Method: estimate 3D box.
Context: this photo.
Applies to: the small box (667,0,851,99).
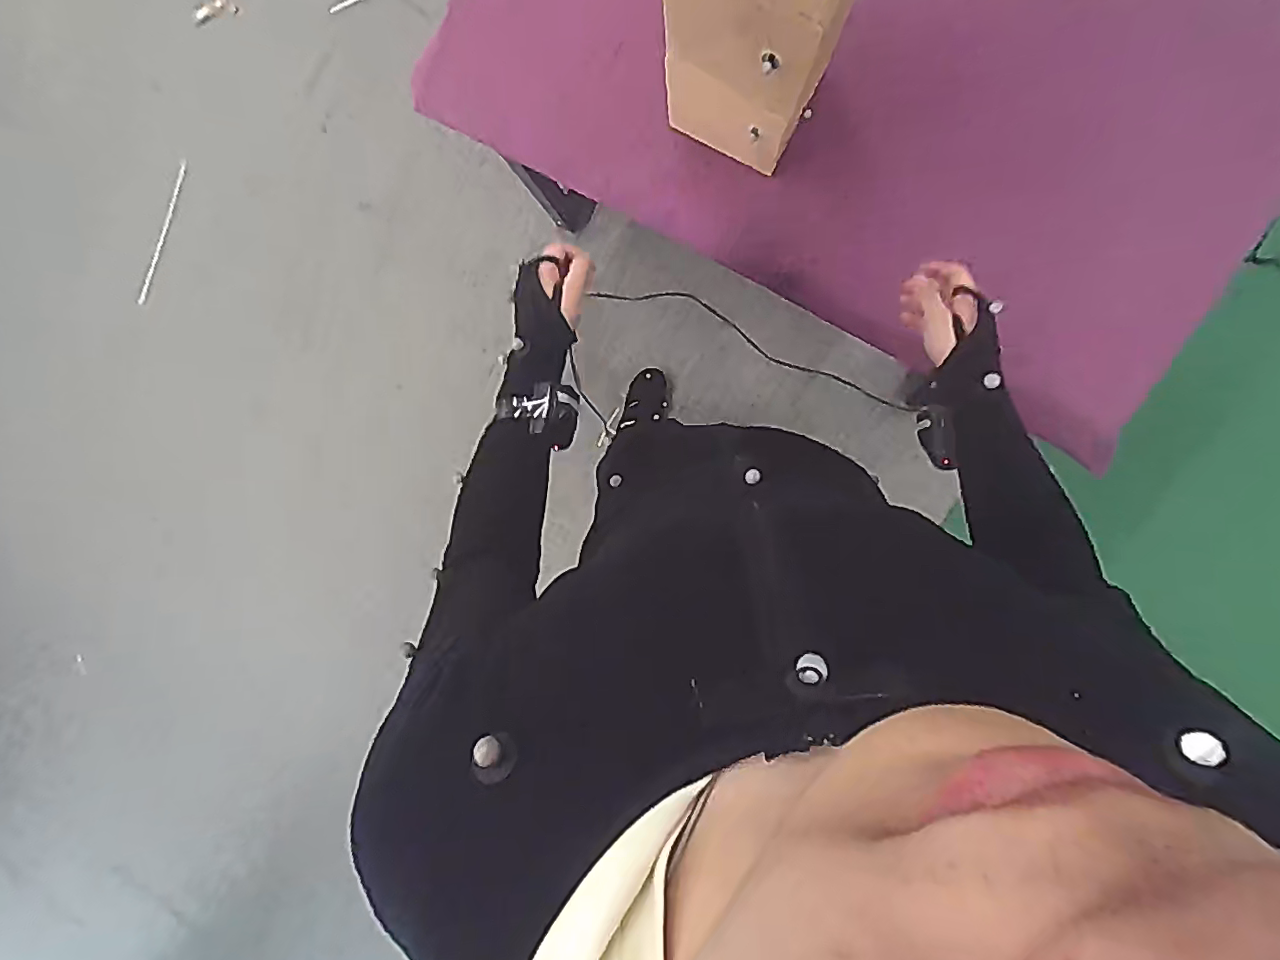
[{"bbox_3d":[0.140,-0.544,0.562,0.179,0.176,0.168,28,100,1],"label":"small box"}]
